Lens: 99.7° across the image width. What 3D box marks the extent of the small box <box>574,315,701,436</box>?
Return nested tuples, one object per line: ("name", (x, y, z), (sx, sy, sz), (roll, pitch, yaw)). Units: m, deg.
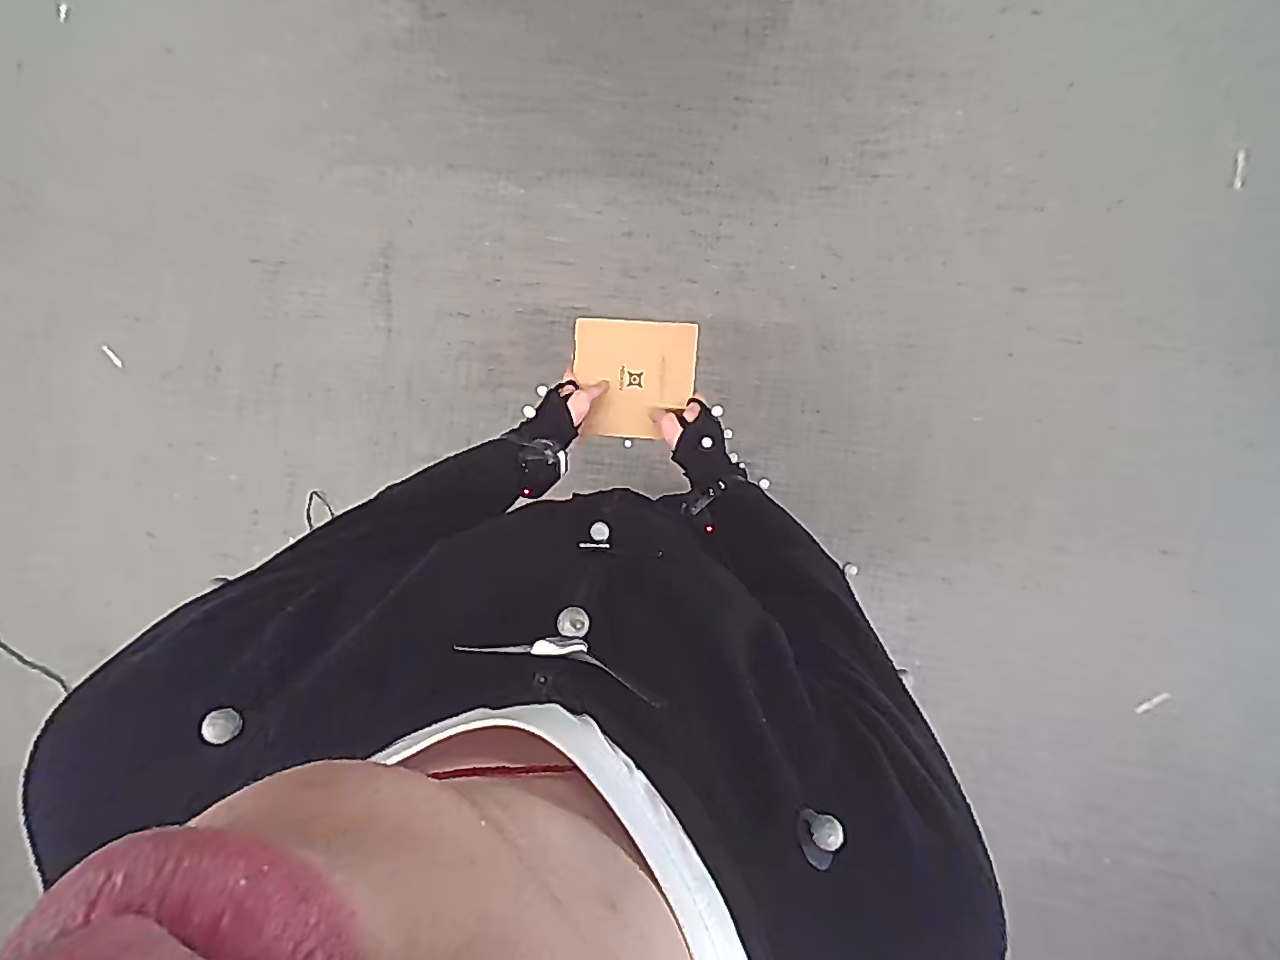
("small box", (-0.001, -0.155, 0.845), (0.179, 0.176, 0.168), (3, 96, 3))
